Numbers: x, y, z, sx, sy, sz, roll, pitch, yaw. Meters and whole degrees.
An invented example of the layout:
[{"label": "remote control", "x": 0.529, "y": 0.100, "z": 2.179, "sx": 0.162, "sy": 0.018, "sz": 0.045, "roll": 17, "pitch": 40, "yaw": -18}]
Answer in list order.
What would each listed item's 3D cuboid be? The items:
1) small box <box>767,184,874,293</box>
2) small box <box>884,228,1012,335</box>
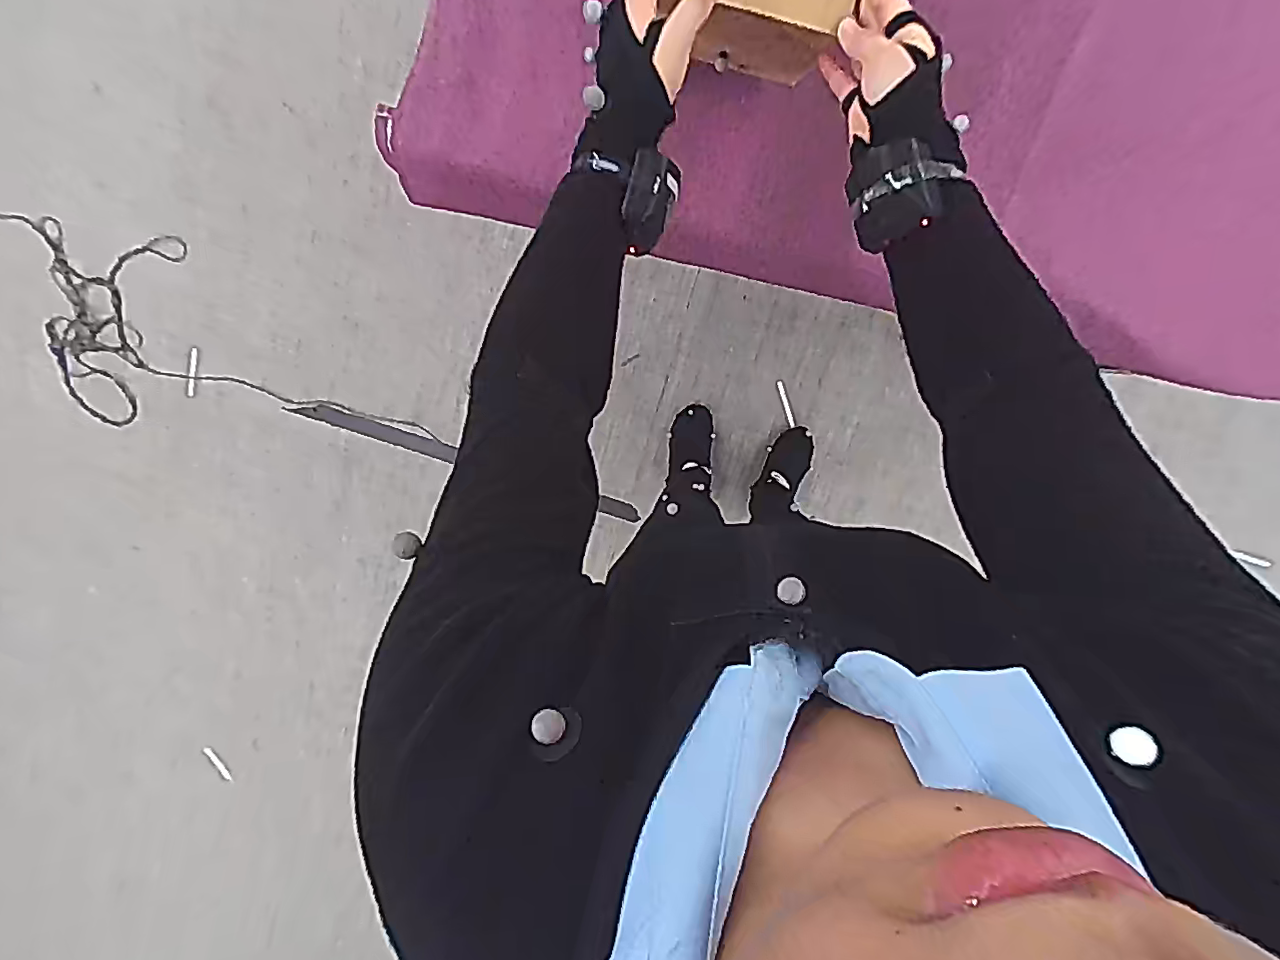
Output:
[{"label": "small box", "x": 0.402, "y": -0.543, "z": 1.244, "sx": 0.168, "sy": 0.176, "sz": 0.179, "roll": 18, "pitch": 104, "yaw": -1}, {"label": "small box", "x": 0.696, "y": -0.447, "z": 1.251, "sx": 0.168, "sy": 0.176, "sz": 0.179, "roll": 25, "pitch": 104, "yaw": -2}]
